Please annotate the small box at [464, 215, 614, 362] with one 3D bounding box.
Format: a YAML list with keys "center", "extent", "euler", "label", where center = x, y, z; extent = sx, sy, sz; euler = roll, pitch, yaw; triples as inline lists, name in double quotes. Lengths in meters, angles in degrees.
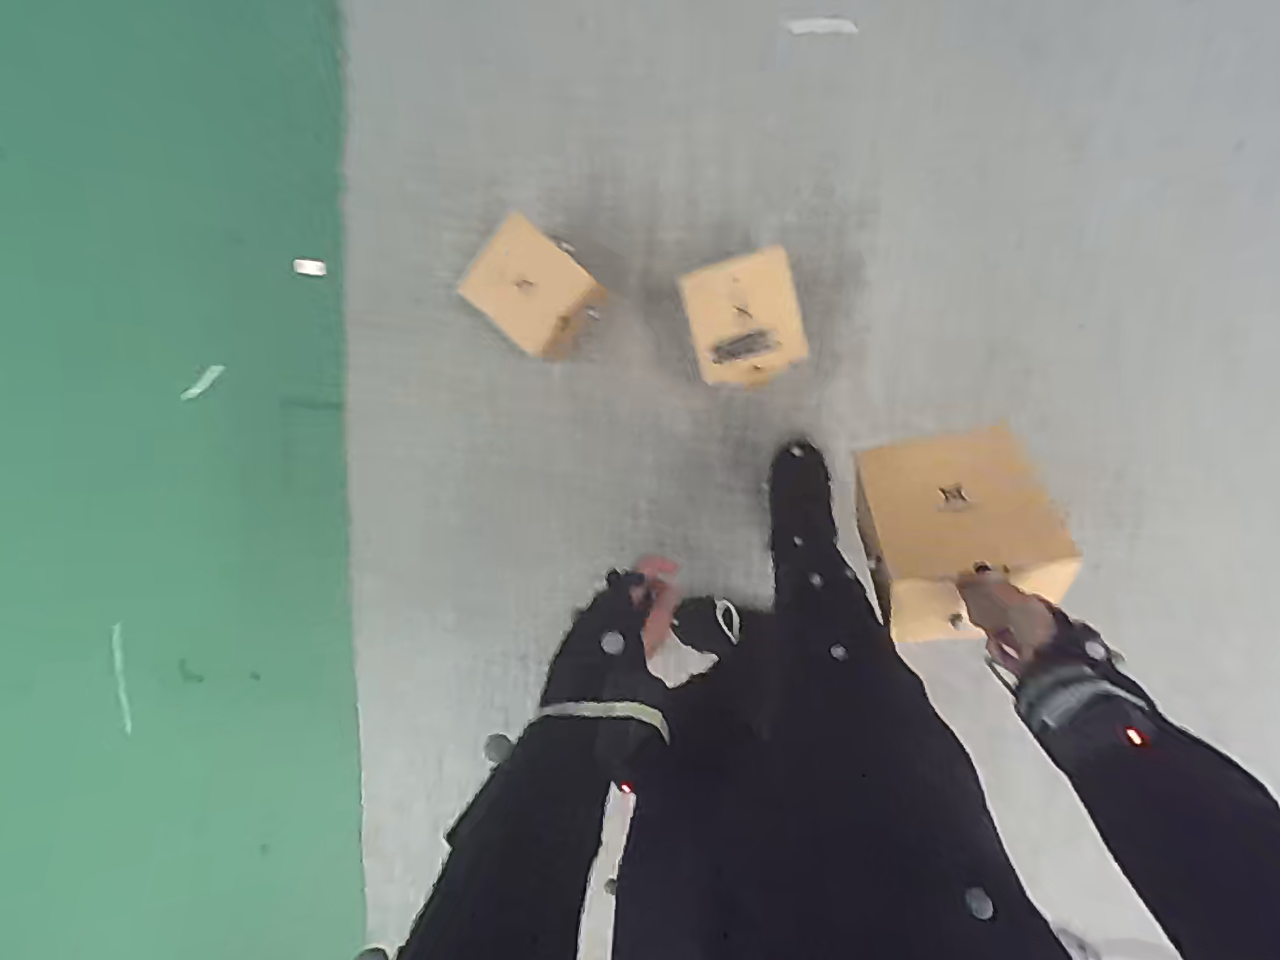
- center: [-0.168, -0.327, 0.962]
  extent: [0.179, 0.176, 0.168]
  euler: [42, 103, 1]
  label: "small box"
